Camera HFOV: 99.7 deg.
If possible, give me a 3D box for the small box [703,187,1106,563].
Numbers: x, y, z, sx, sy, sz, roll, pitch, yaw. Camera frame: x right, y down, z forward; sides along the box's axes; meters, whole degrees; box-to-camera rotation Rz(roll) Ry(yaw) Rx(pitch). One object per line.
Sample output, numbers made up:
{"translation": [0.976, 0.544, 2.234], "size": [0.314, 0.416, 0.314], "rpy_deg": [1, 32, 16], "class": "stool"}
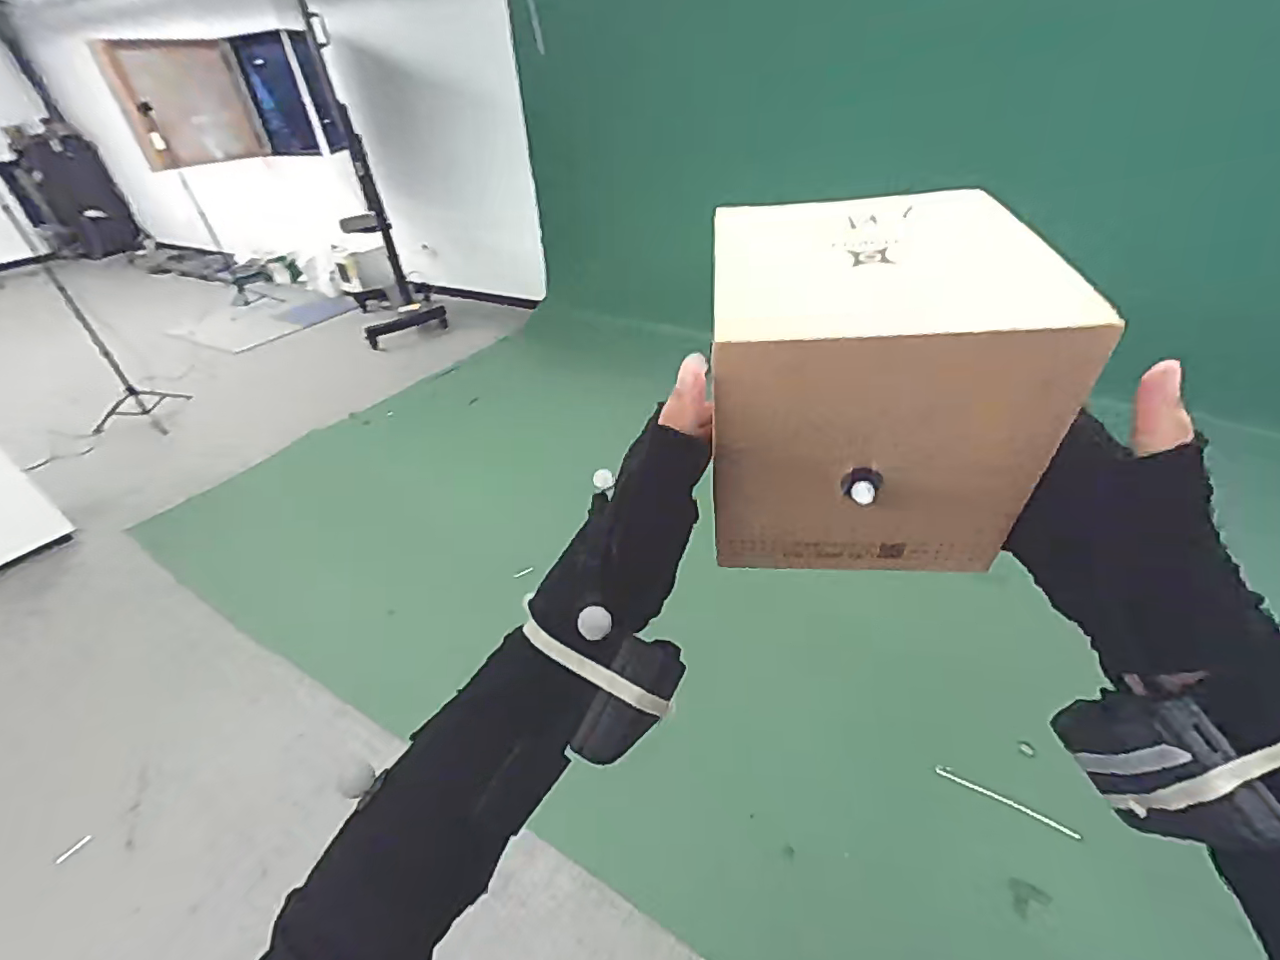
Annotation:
{"translation": [0.127, -0.063, 0.343], "size": [0.168, 0.176, 0.179], "rpy_deg": [0, 43, 8], "class": "small box"}
